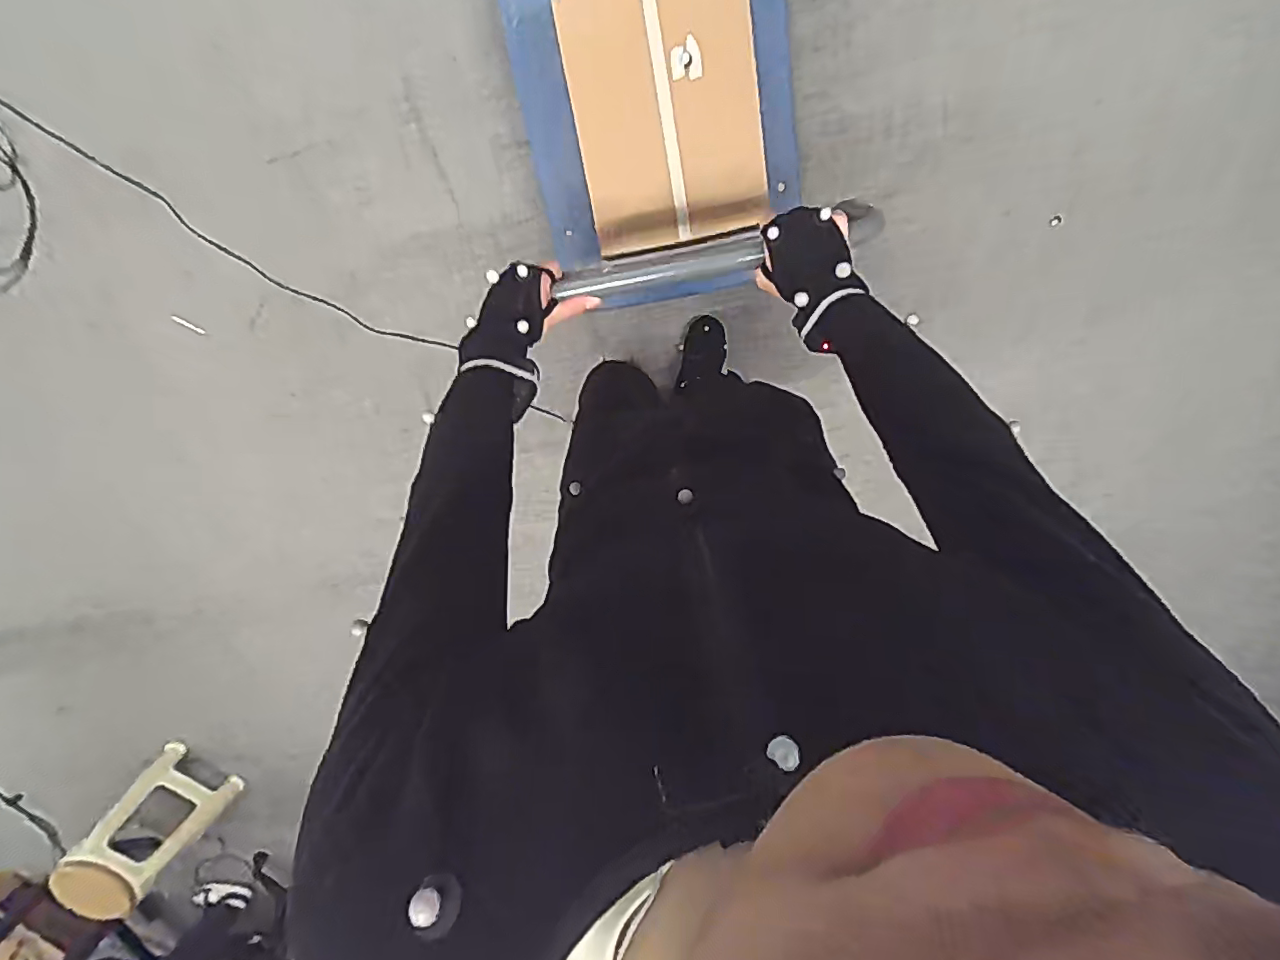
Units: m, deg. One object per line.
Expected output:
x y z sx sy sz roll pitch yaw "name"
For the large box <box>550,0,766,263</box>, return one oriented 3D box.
0.052 -0.676 1.072 0.320 0.320 0.408 -9 109 7 "large box"
